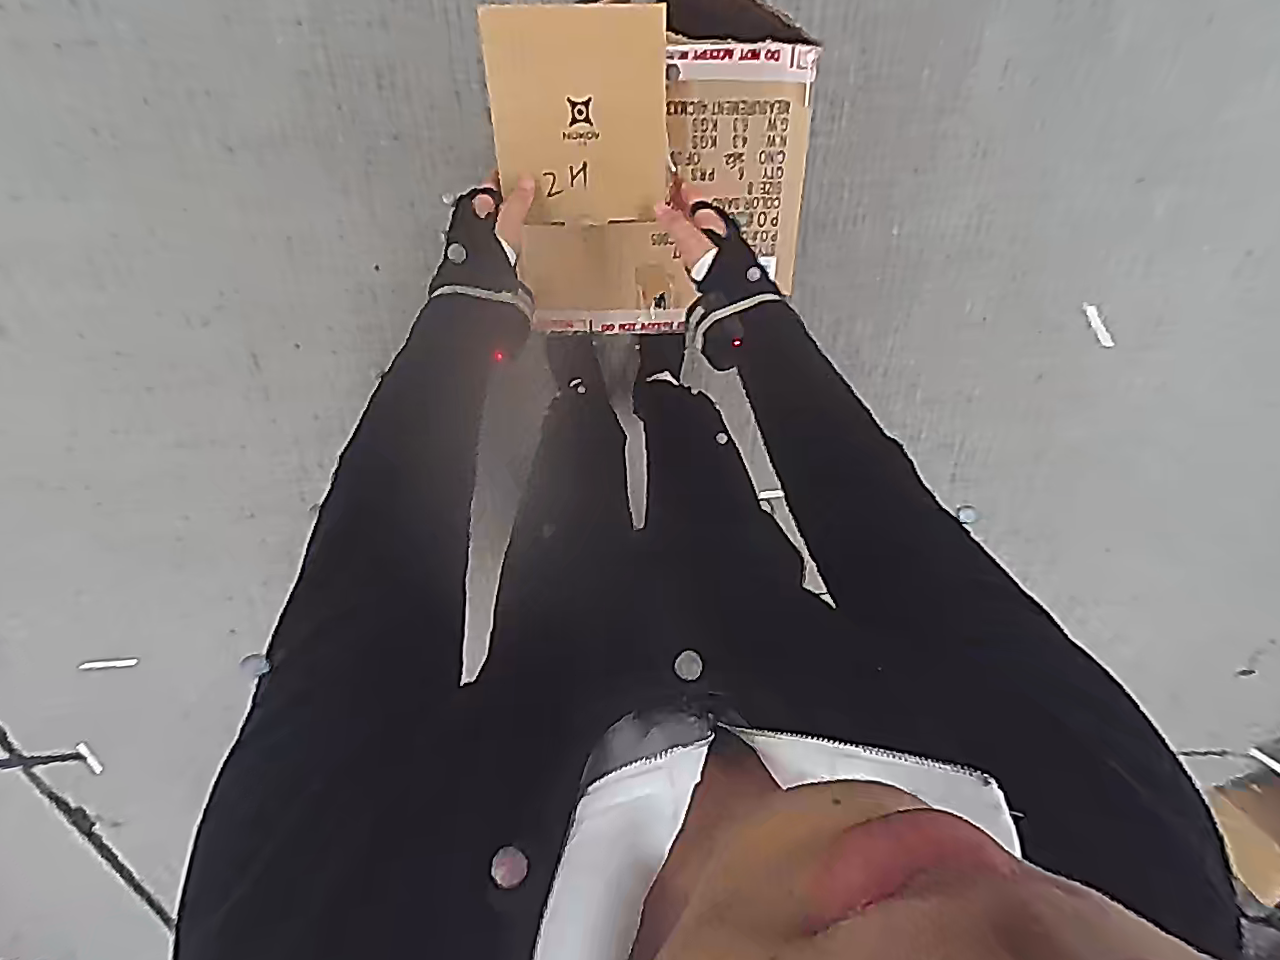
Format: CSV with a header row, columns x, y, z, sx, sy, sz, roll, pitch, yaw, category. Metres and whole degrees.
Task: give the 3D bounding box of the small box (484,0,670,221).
x,y,z,sx,sy,sz,roll,pitch,yaw,category
-0.061,-0.381,0.578,0.168,0.176,0.179,-3,121,-3,small box
